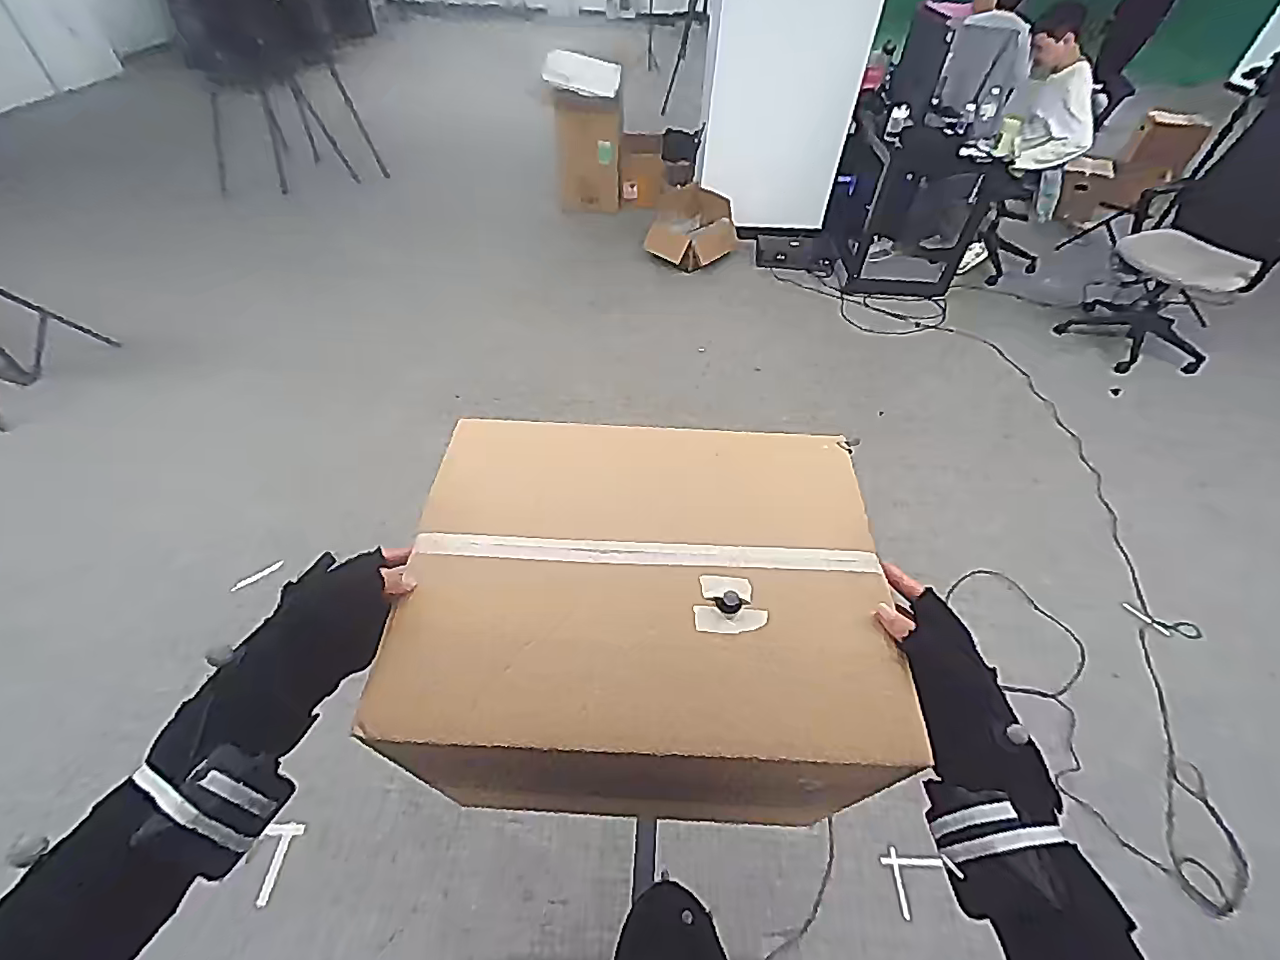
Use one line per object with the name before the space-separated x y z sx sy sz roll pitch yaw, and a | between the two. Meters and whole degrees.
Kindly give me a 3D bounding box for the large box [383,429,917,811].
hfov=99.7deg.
large box | 0.005 0.164 0.602 0.408 0.320 0.320 3 52 0
